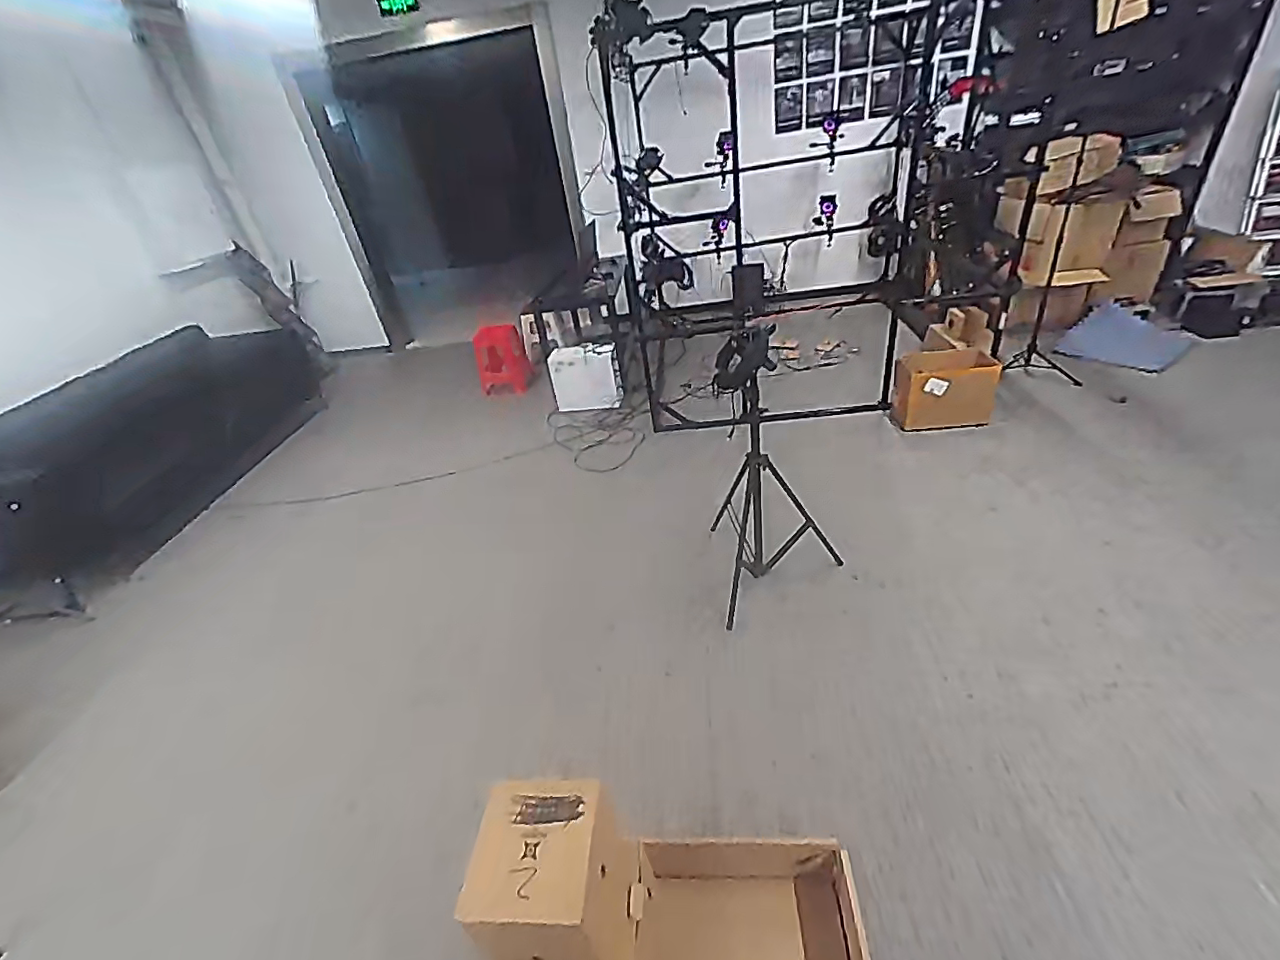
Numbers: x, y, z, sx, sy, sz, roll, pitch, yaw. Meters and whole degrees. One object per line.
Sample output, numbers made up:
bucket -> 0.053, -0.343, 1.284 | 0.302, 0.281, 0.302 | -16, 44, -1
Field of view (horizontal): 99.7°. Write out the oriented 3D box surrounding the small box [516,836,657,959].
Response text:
small box -> -0.070, 0.684, 0.842 | 0.179, 0.176, 0.168 | -5, 33, 8
